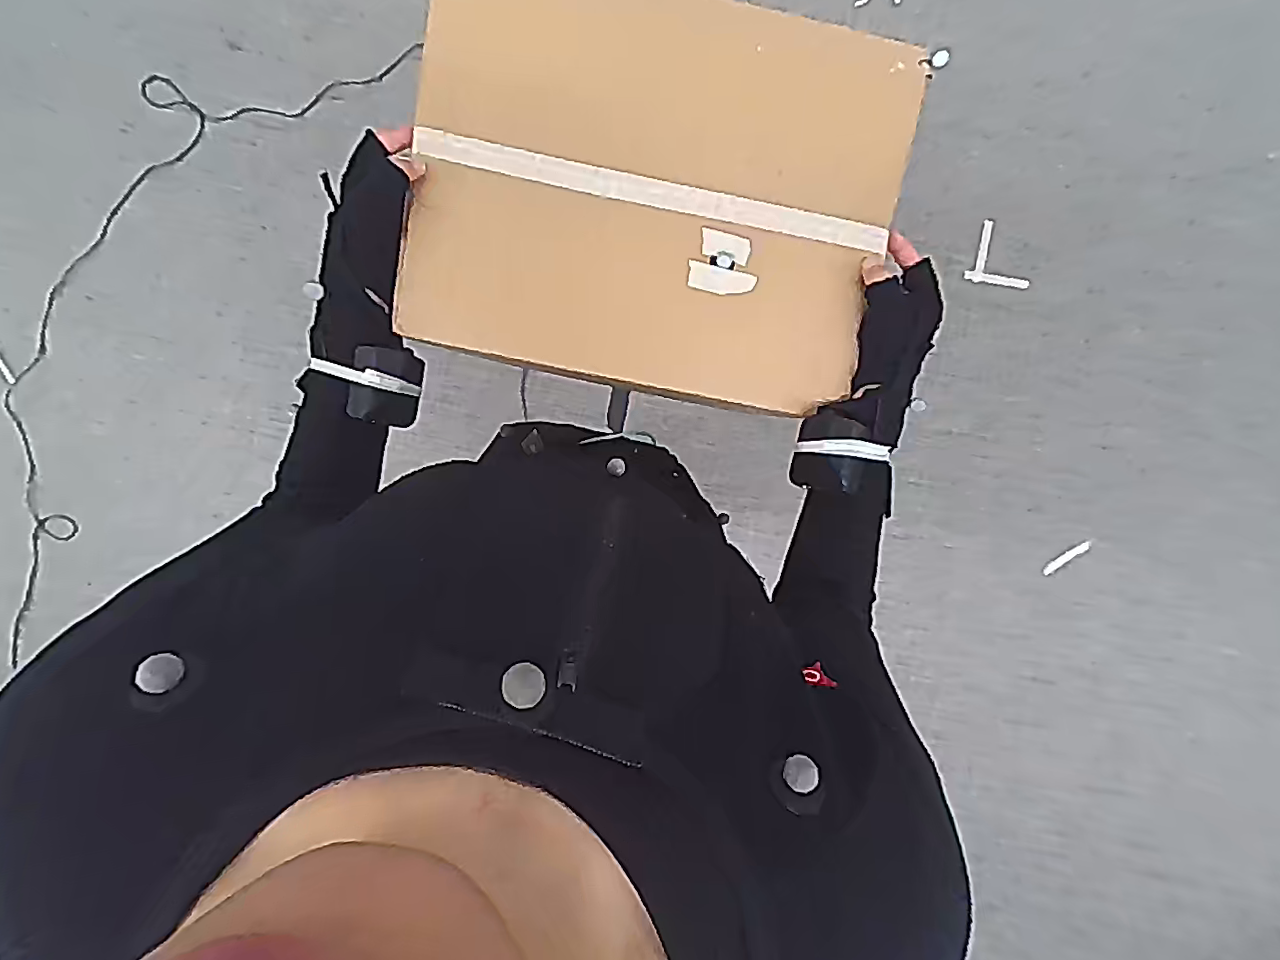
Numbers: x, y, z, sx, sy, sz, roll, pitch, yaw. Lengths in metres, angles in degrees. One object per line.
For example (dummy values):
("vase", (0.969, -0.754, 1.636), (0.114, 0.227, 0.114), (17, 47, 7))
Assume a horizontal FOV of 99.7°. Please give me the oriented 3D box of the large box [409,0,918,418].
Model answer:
("large box", (0.008, -0.261, 0.613), (0.408, 0.320, 0.320), (11, 99, -5))
